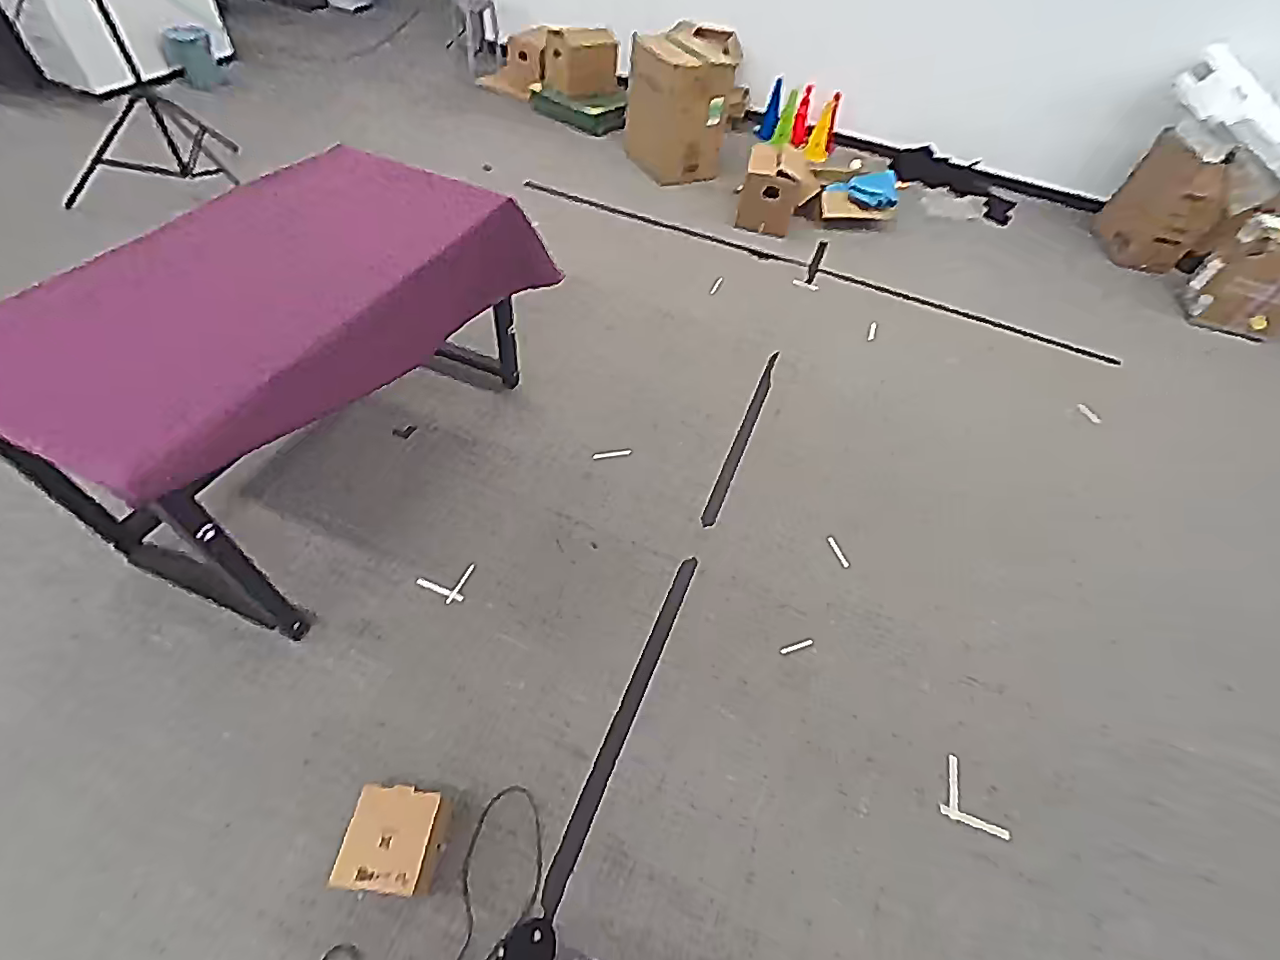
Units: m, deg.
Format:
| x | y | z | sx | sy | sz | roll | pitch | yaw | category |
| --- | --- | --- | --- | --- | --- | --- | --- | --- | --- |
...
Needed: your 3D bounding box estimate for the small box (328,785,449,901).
| x | y | z | sx | sy | sz | roll | pitch | yaw | category |
| --- | --- | --- | --- | --- | --- | --- | --- | --- | --- |
| -0.516 | 0.769 | 1.142 | 0.168 | 0.176 | 0.179 | 9 | 50 | -1 | small box |
